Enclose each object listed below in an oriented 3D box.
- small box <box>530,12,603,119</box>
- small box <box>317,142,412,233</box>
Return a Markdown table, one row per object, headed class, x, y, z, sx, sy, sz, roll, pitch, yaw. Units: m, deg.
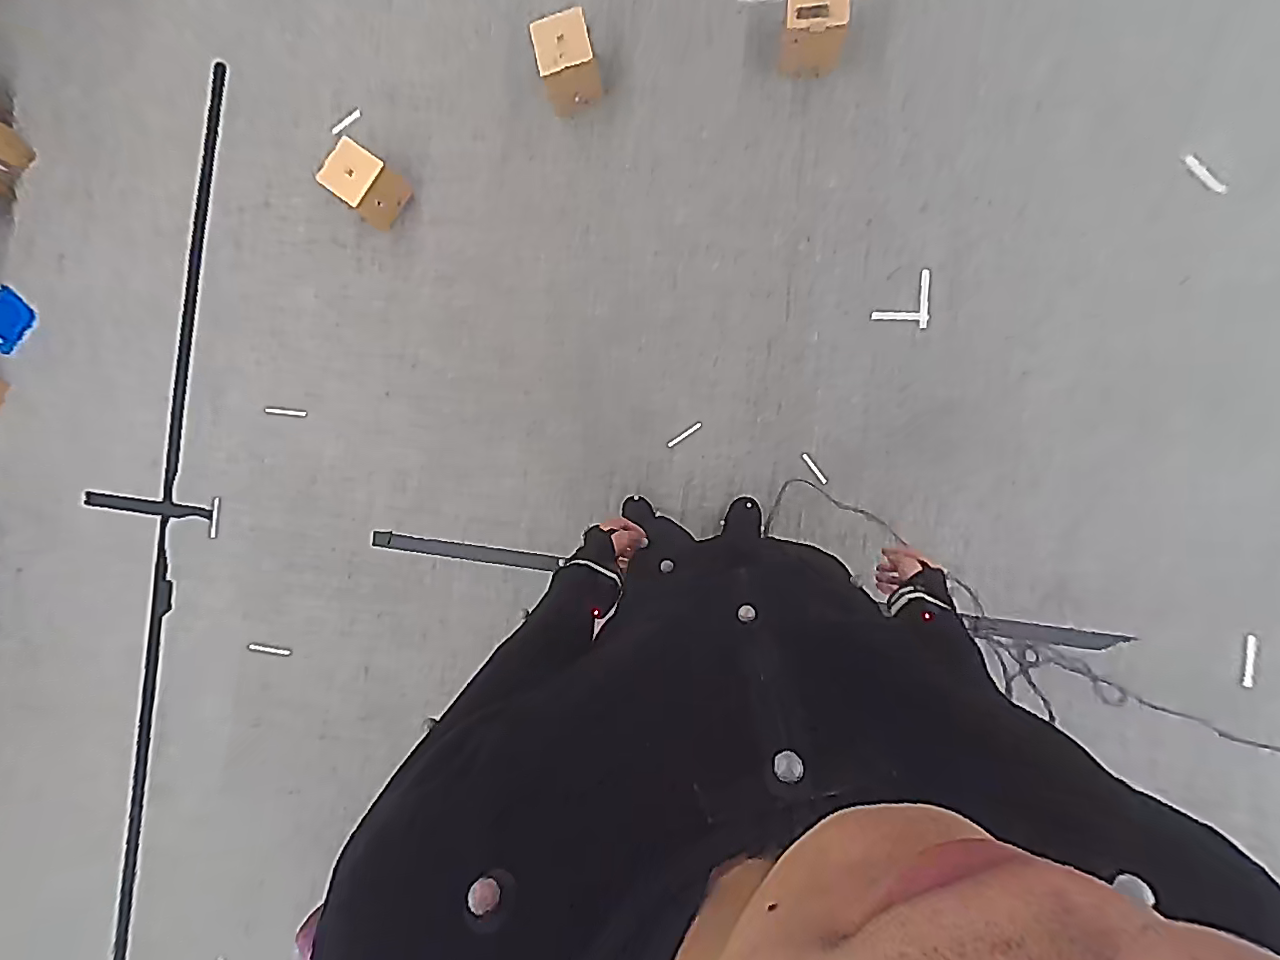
| class | x | y | z | sx | sy | sz | roll | pitch | yaw |
| --- | --- | --- | --- | --- | --- | --- | --- | --- | --- |
| small box | -0.223 | -1.272 | 1.669 | 0.168 | 0.176 | 0.179 | -14 | 86 | 7 |
| small box | -0.880 | -0.931 | 1.743 | 0.179 | 0.176 | 0.168 | 36 | 93 | 8 |
